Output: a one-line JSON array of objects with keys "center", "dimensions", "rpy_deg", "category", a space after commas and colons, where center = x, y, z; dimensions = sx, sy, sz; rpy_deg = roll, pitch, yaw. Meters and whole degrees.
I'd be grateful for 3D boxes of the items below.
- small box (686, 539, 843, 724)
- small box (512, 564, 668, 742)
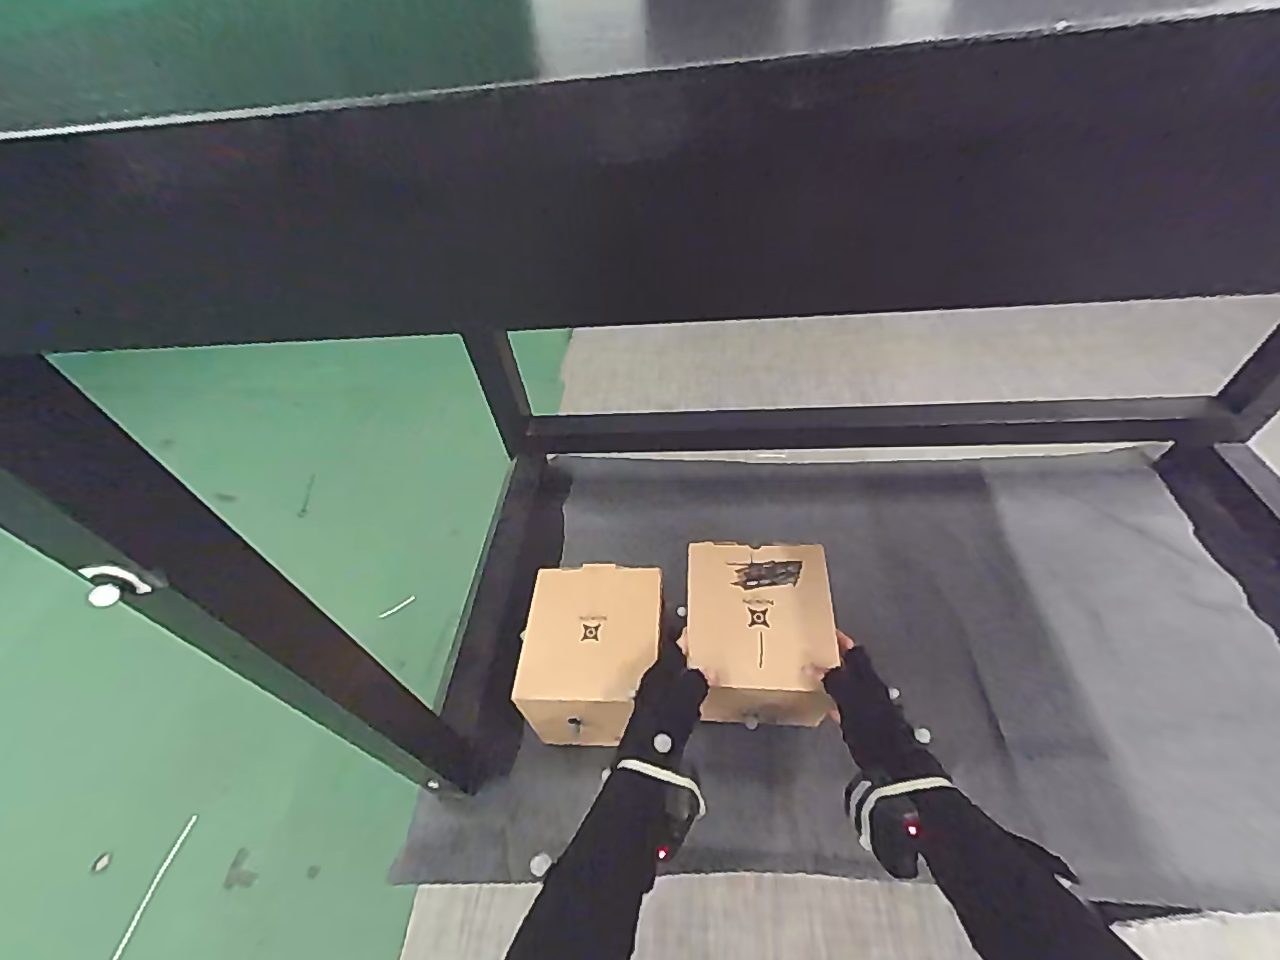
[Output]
[{"center": [0.143, 0.192, 0.680], "dimensions": [0.168, 0.176, 0.179], "rpy_deg": [0, 55, 7], "category": "small box"}, {"center": [-0.051, 0.229, 0.709], "dimensions": [0.168, 0.176, 0.179], "rpy_deg": [-1, 47, 6], "category": "small box"}]
